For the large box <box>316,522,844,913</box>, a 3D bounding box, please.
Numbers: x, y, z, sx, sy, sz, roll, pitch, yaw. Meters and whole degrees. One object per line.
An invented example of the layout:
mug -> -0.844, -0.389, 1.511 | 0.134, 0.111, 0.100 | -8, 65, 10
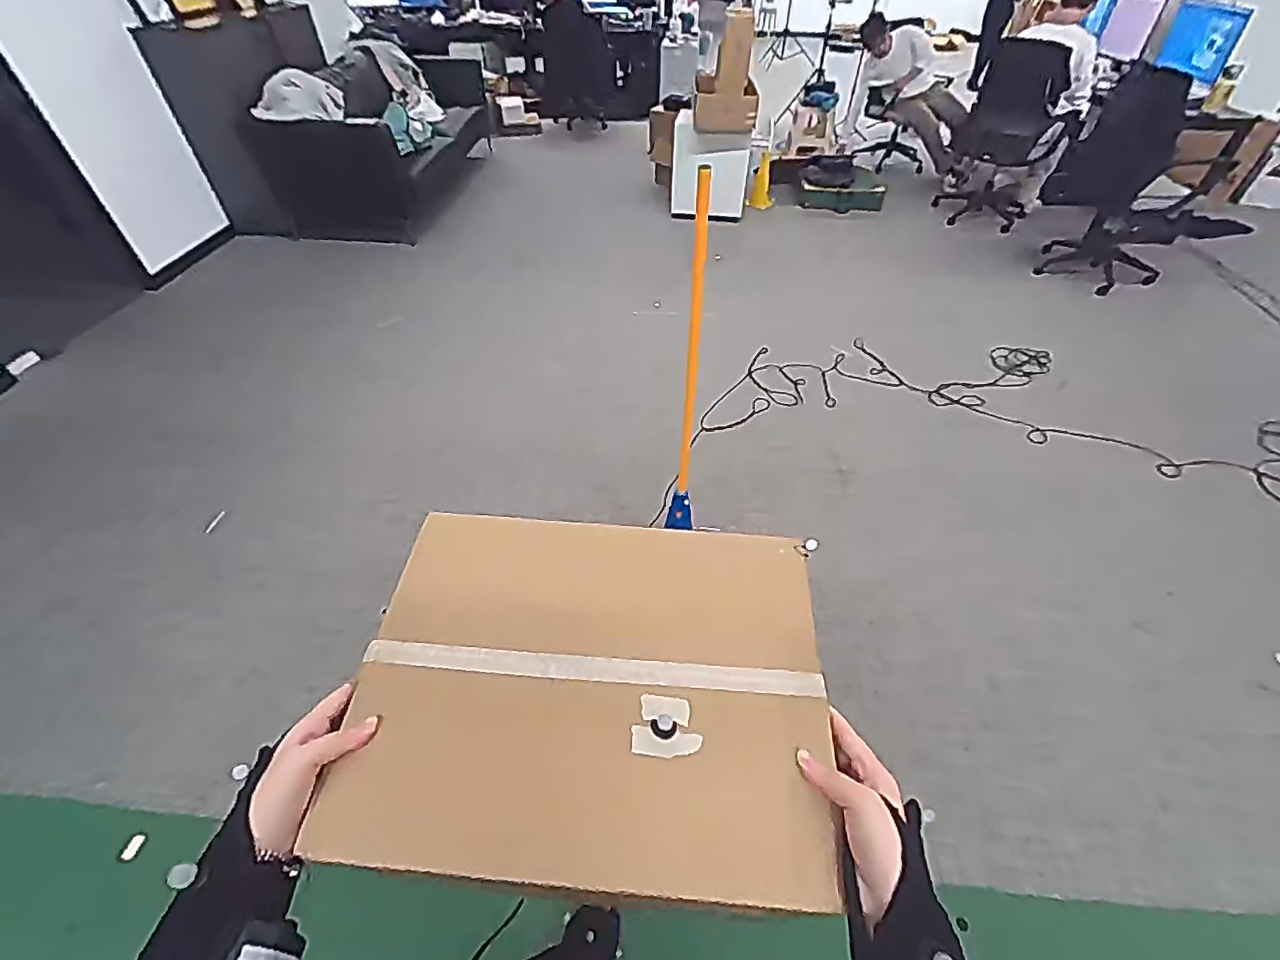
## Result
large box -> -0.042, 0.270, 0.607 | 0.408, 0.320, 0.320 | 4, 50, 2
